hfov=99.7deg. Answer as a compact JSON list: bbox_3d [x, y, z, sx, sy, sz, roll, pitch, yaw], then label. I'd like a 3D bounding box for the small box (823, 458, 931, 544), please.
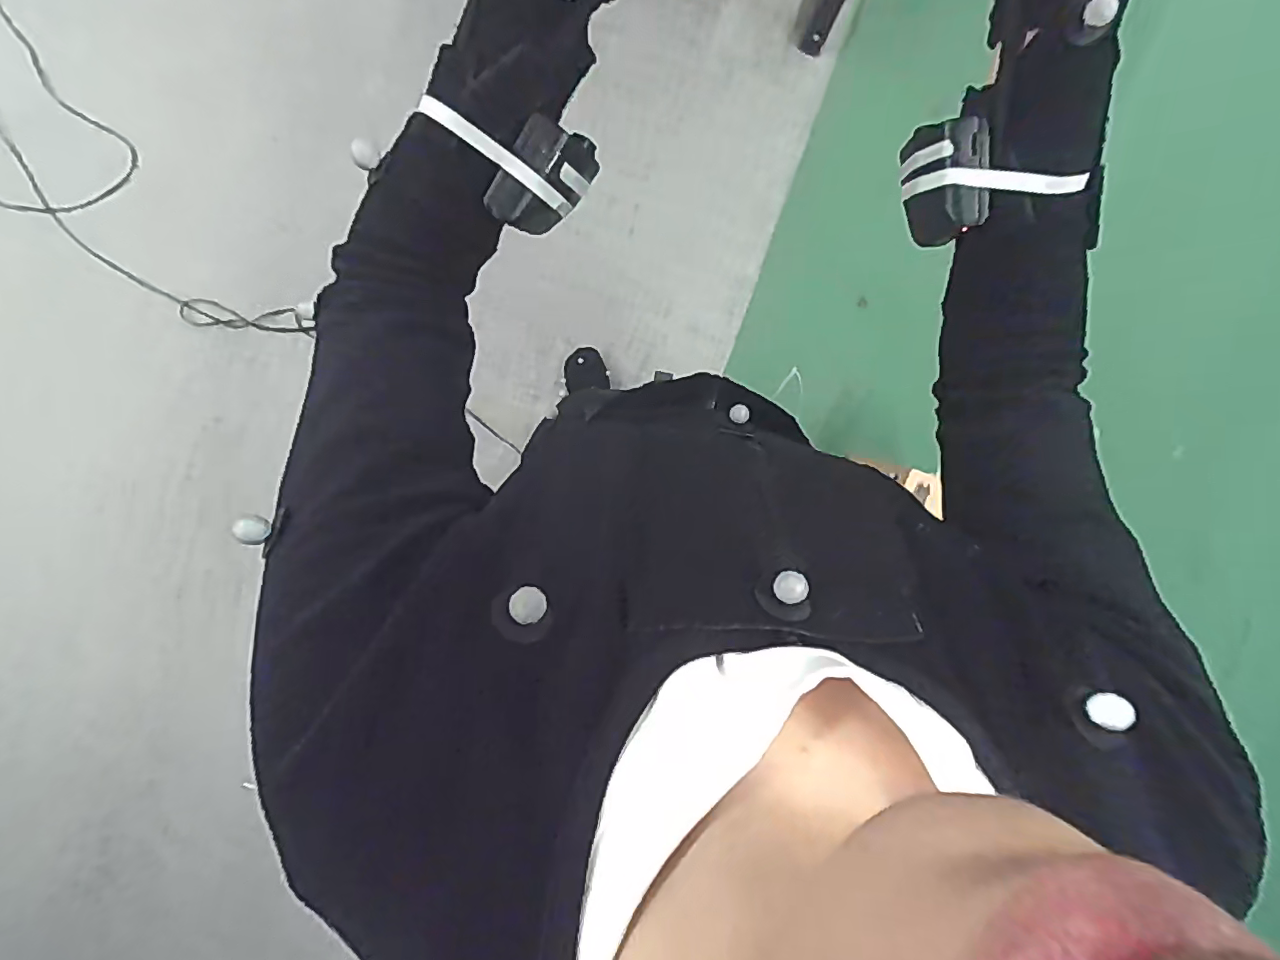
[{"bbox_3d":[0.604,0.046,1.403,0.179,0.176,0.168,20,97,-2],"label":"small box"}]
